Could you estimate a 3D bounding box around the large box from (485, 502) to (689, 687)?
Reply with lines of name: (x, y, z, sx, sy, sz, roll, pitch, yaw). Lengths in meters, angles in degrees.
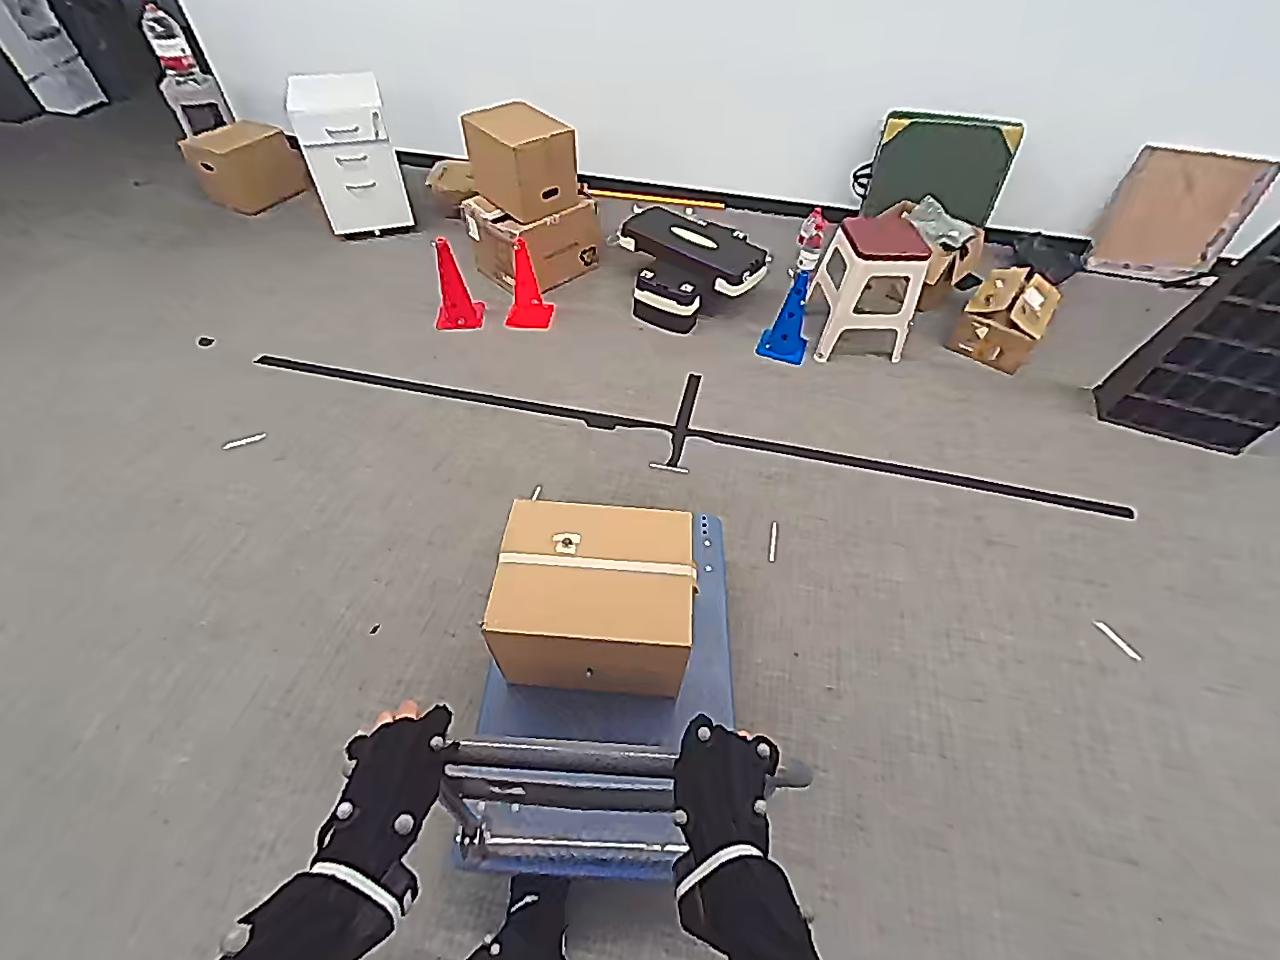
large box: (-0.097, 0.272, 1.252, 0.408, 0.320, 0.320, 4, 52, 2)
